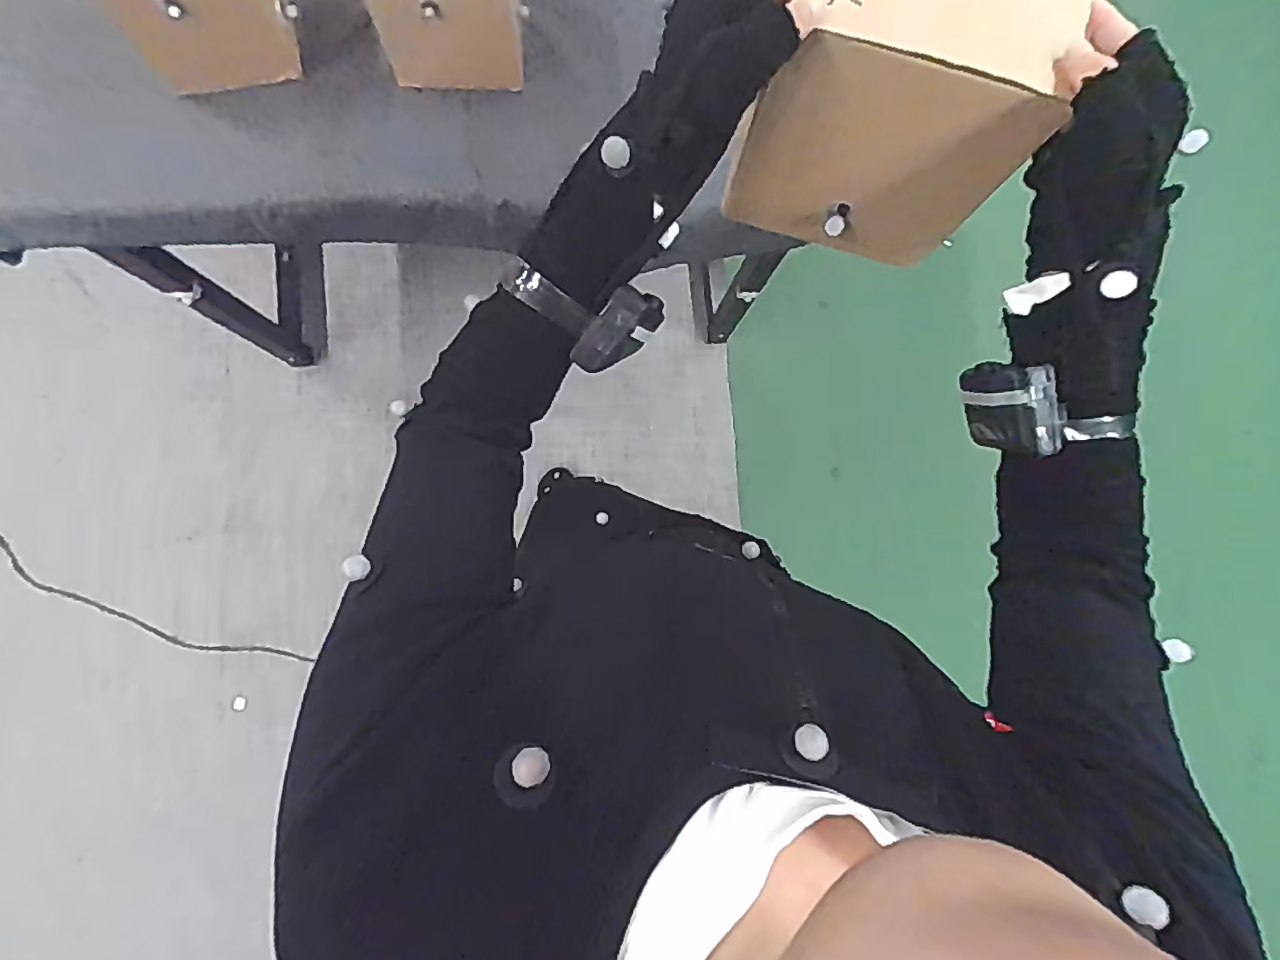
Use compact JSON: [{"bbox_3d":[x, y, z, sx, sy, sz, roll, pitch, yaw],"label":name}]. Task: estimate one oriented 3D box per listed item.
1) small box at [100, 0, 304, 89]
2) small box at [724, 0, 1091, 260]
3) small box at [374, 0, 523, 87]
[{"bbox_3d":[-0.570,-0.639,0.688,0.179,0.176,0.168,-13,87,-7],"label":"small box"},{"bbox_3d":[0.180,-0.293,0.398,0.179,0.176,0.168,16,78,-2],"label":"small box"},{"bbox_3d":[-0.256,-0.663,0.718,0.179,0.176,0.168,-3,85,-6],"label":"small box"}]
